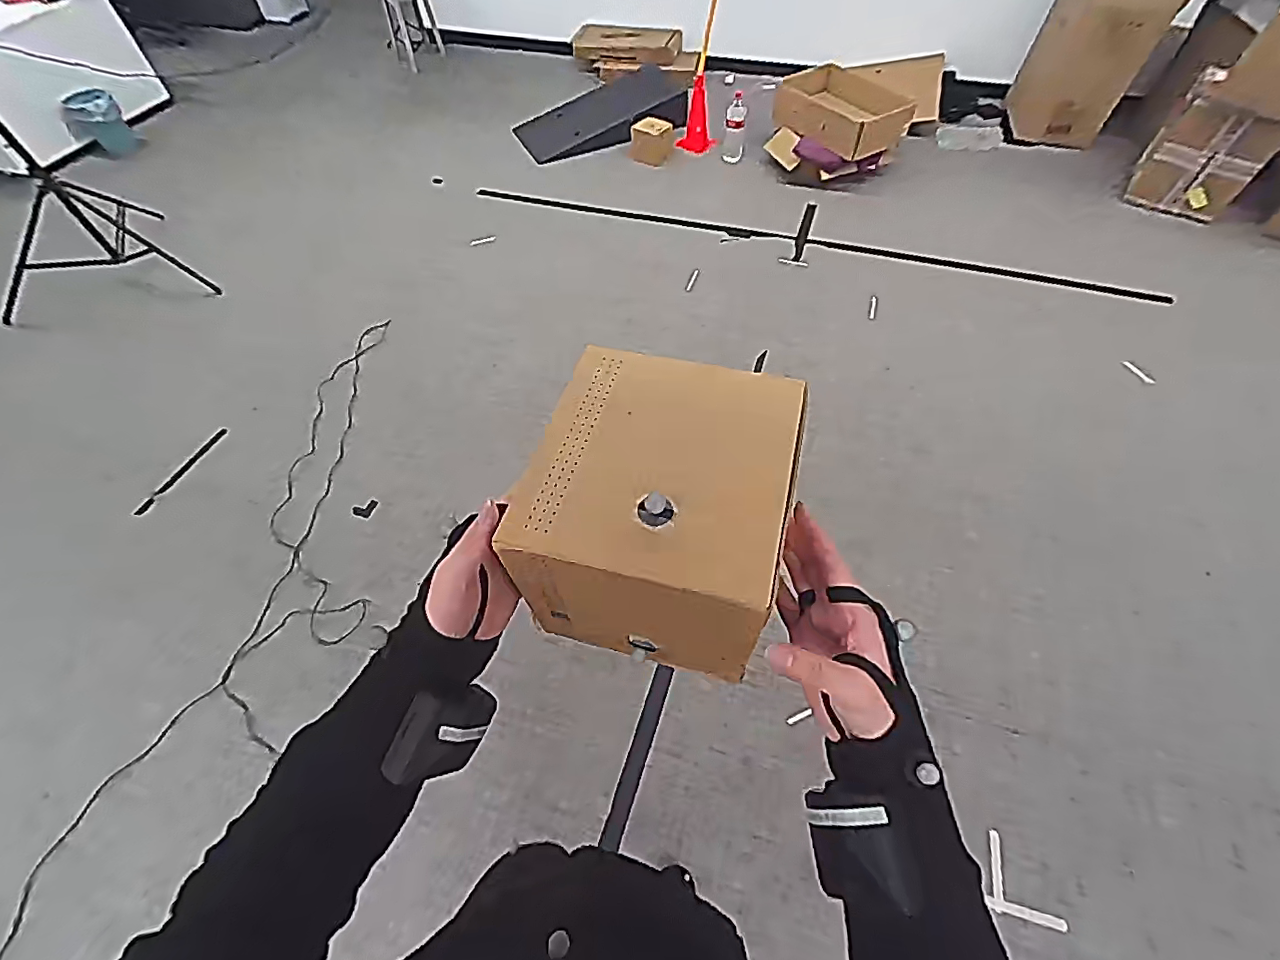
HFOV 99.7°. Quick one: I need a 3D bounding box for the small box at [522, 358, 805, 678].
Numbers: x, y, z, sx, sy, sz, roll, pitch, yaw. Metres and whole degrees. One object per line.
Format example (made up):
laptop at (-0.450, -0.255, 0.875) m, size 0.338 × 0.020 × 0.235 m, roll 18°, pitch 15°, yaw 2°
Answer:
small box at (0.020, 0.030, 0.424) m, size 0.176 × 0.168 × 0.179 m, roll 12°, pitch 59°, yaw 10°
